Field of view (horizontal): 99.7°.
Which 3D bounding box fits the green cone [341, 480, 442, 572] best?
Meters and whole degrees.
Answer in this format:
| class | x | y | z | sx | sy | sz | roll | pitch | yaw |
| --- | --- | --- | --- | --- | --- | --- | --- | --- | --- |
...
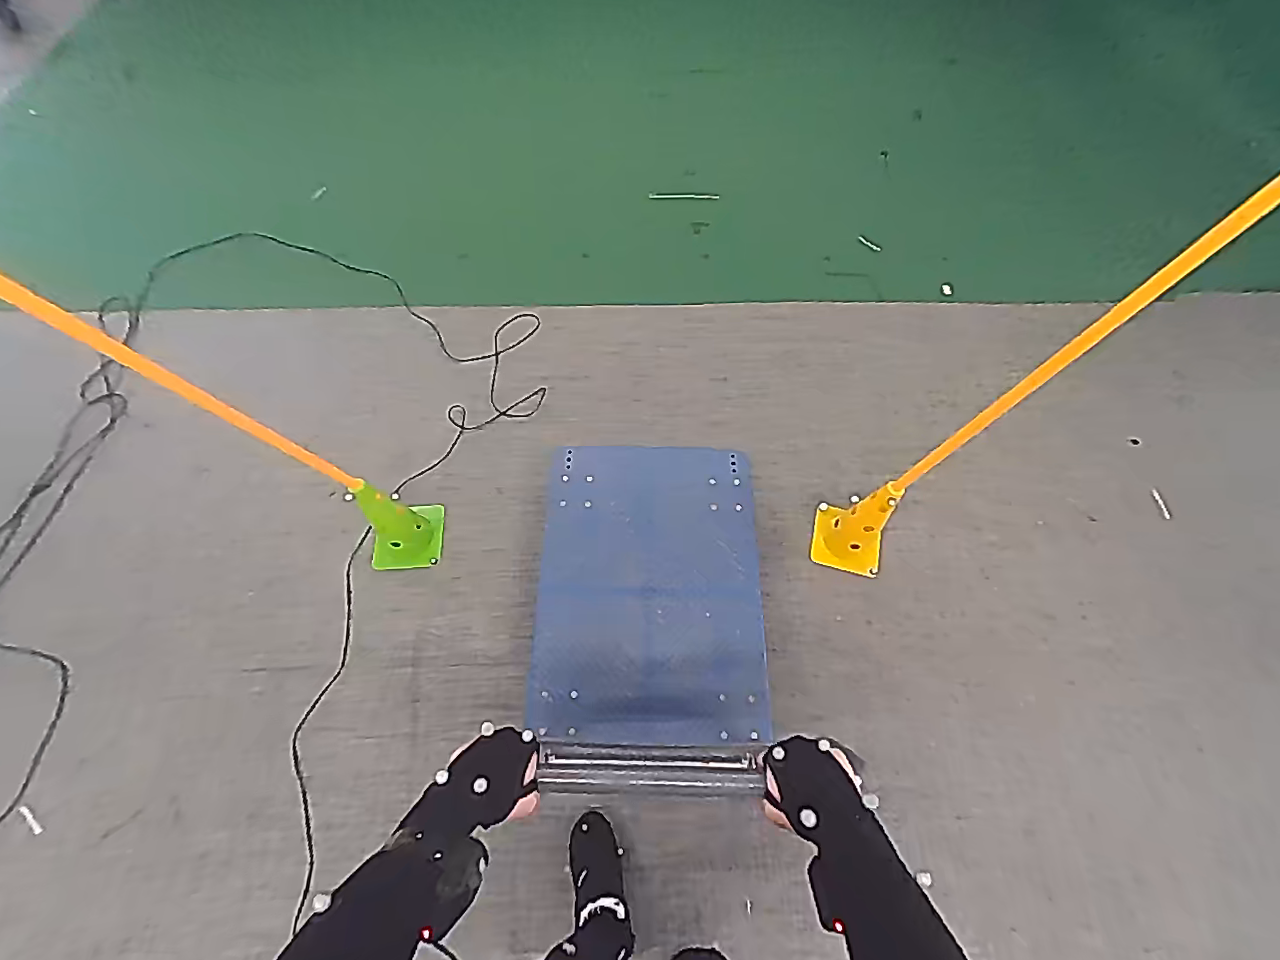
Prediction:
| class | x | y | z | sx | sy | sz | roll | pitch | yaw |
| --- | --- | --- | --- | --- | --- | --- | --- | --- | --- |
| green cone | -0.708 | 0.096 | 1.487 | 0.202 | 0.368 | 0.200 | -5 | 62 | -1 |
